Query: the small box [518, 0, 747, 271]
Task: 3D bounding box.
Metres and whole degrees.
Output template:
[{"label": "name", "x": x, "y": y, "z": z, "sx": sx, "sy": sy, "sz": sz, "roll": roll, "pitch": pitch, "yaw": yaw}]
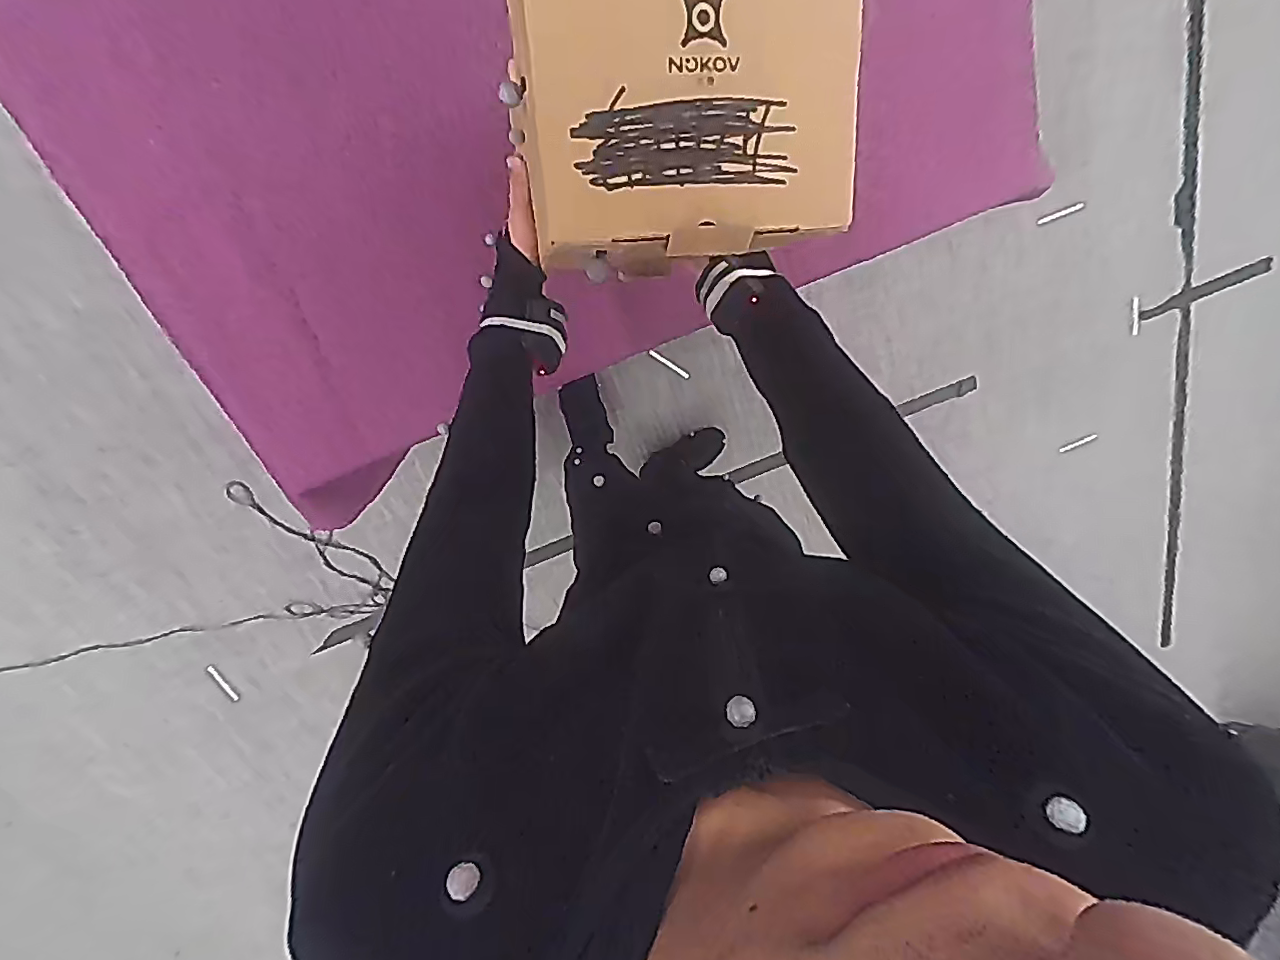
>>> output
[{"label": "small box", "x": -0.015, "y": -0.288, "z": 0.479, "sx": 0.168, "sy": 0.176, "sz": 0.179, "roll": -8, "pitch": 110, "yaw": -9}]
